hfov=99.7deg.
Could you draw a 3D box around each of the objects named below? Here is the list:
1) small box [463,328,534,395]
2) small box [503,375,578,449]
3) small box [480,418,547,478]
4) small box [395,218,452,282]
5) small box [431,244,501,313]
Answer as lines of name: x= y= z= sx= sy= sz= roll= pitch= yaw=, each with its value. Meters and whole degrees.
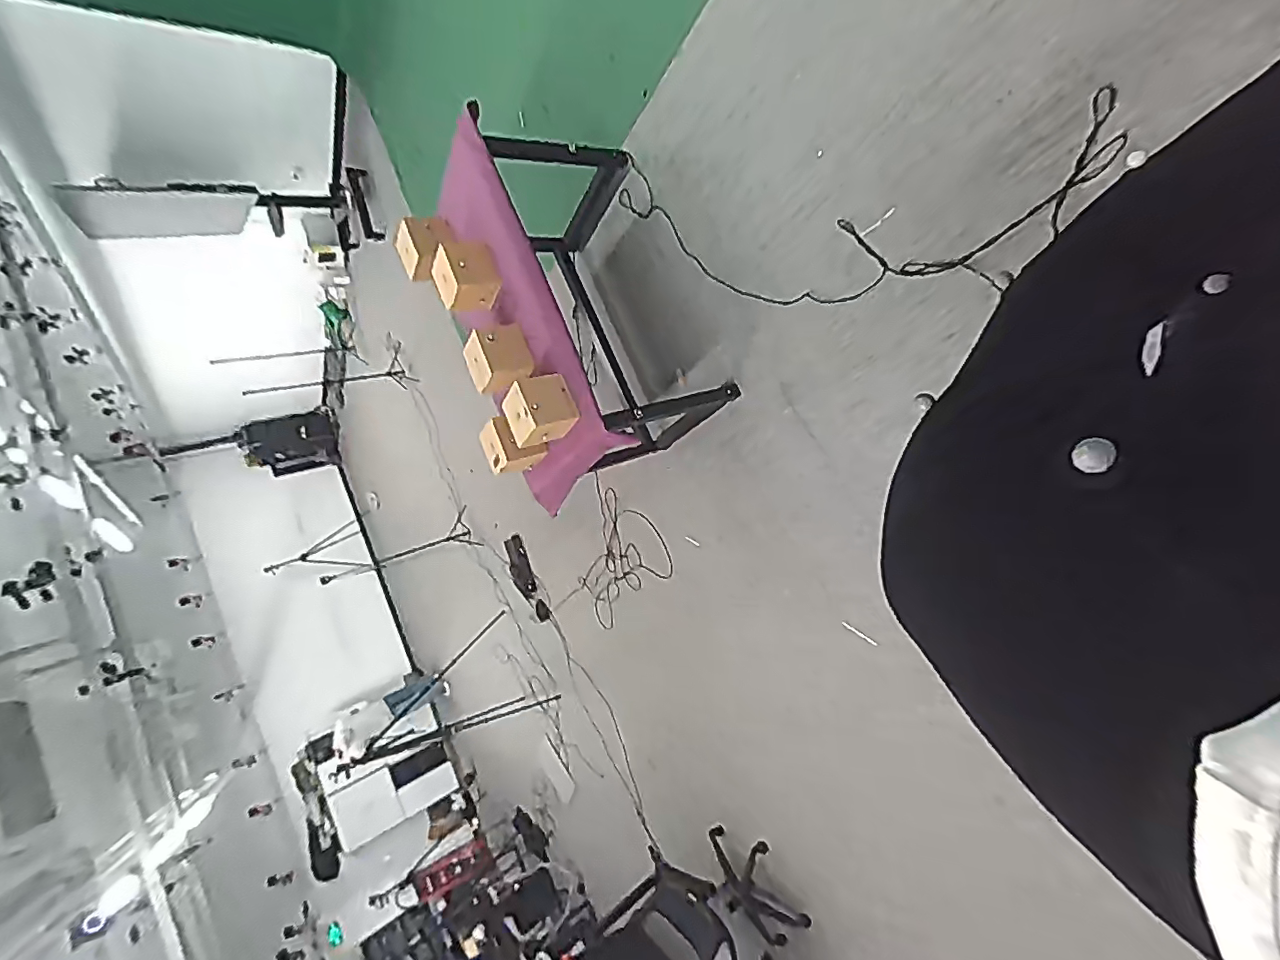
small box: x=-0.502 y=-0.425 z=1.920 sx=0.168 sy=0.176 sz=0.179 roll=-32 pitch=79 yaw=54
small box: x=-0.325 y=-0.224 z=1.776 sx=0.179 sy=0.176 sz=0.168 roll=-36 pitch=76 yaw=55
small box: x=-0.469 y=-0.131 z=2.011 sx=0.168 sy=0.176 sz=0.179 roll=-33 pitch=78 yaw=53
small box: x=-0.853 y=-0.914 z=2.158 sx=0.168 sy=0.176 sz=0.179 roll=-30 pitch=82 yaw=53
small box: x=-0.628 y=-0.728 z=1.953 sx=0.168 sy=0.176 sz=0.179 roll=-31 pitch=81 yaw=53
